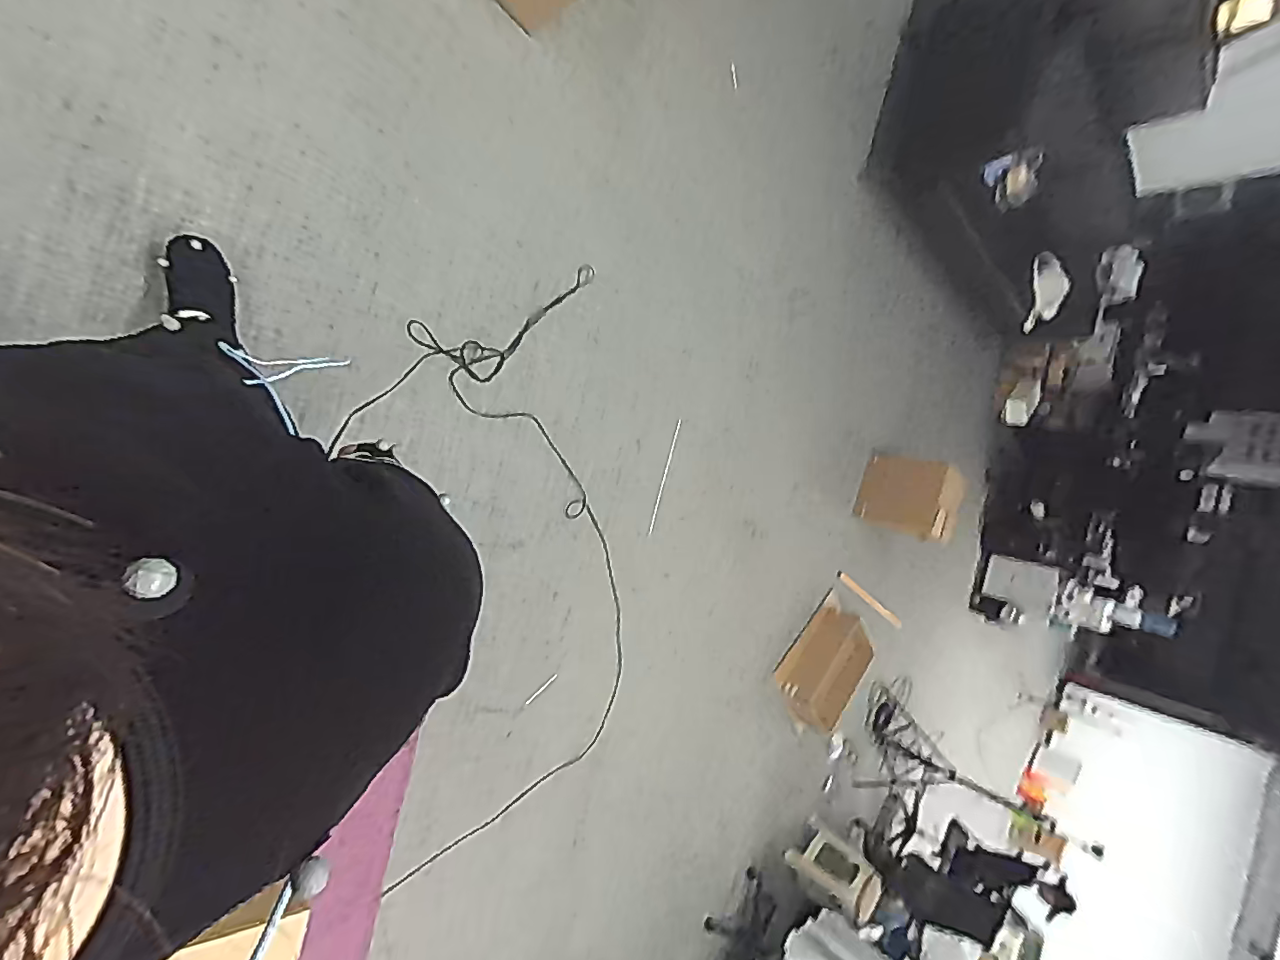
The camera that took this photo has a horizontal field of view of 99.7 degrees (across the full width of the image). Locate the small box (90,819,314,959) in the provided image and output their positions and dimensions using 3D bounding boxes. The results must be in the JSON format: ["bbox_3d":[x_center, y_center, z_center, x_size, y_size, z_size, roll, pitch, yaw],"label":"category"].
[{"bbox_3d":[-0.514,0.538,0.628,0.179,0.176,0.168,15,89,-44],"label":"small box"}]
